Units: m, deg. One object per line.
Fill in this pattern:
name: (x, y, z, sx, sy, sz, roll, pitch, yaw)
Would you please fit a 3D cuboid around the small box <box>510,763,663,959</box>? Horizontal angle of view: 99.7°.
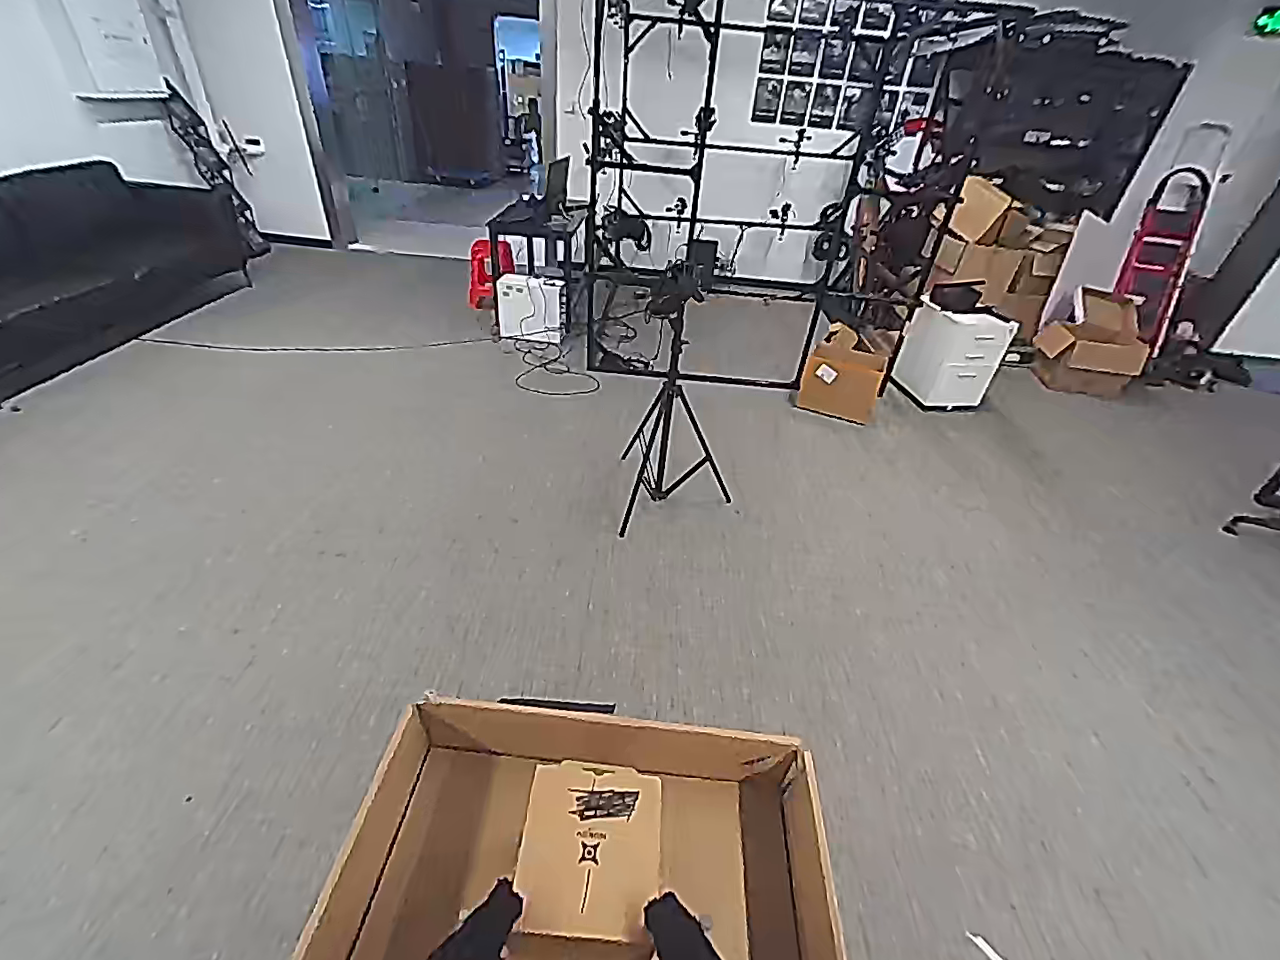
small box: (-0.064, 0.496, 0.686, 0.168, 0.176, 0.179, 7, 35, -2)
